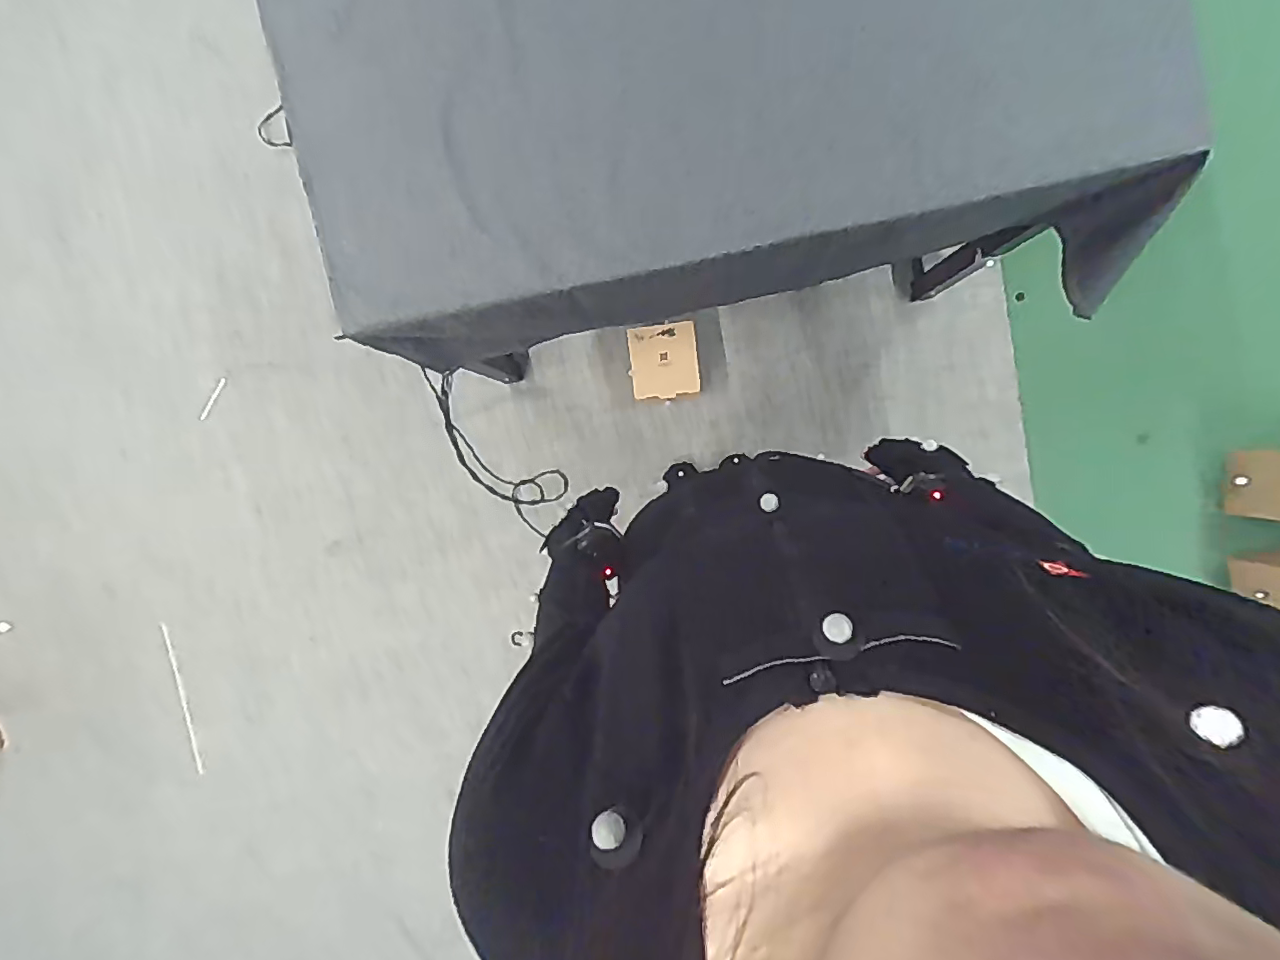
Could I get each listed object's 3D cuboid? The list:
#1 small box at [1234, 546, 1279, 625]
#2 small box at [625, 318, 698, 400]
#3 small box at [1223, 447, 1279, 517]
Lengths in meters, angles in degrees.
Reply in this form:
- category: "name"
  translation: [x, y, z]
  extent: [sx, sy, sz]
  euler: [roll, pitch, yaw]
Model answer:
- category: "small box"
  translation: [1.618, 0.262, 1.318]
  extent: [0.179, 0.176, 0.168]
  euler: [-12, 93, 4]
- category: "small box"
  translation: [0.059, -0.301, 1.380]
  extent: [0.168, 0.176, 0.179]
  euler: [-6, 93, 5]
- category: "small box"
  translation: [1.589, 0.005, 1.305]
  extent: [0.179, 0.176, 0.168]
  euler: [1, 93, 5]
